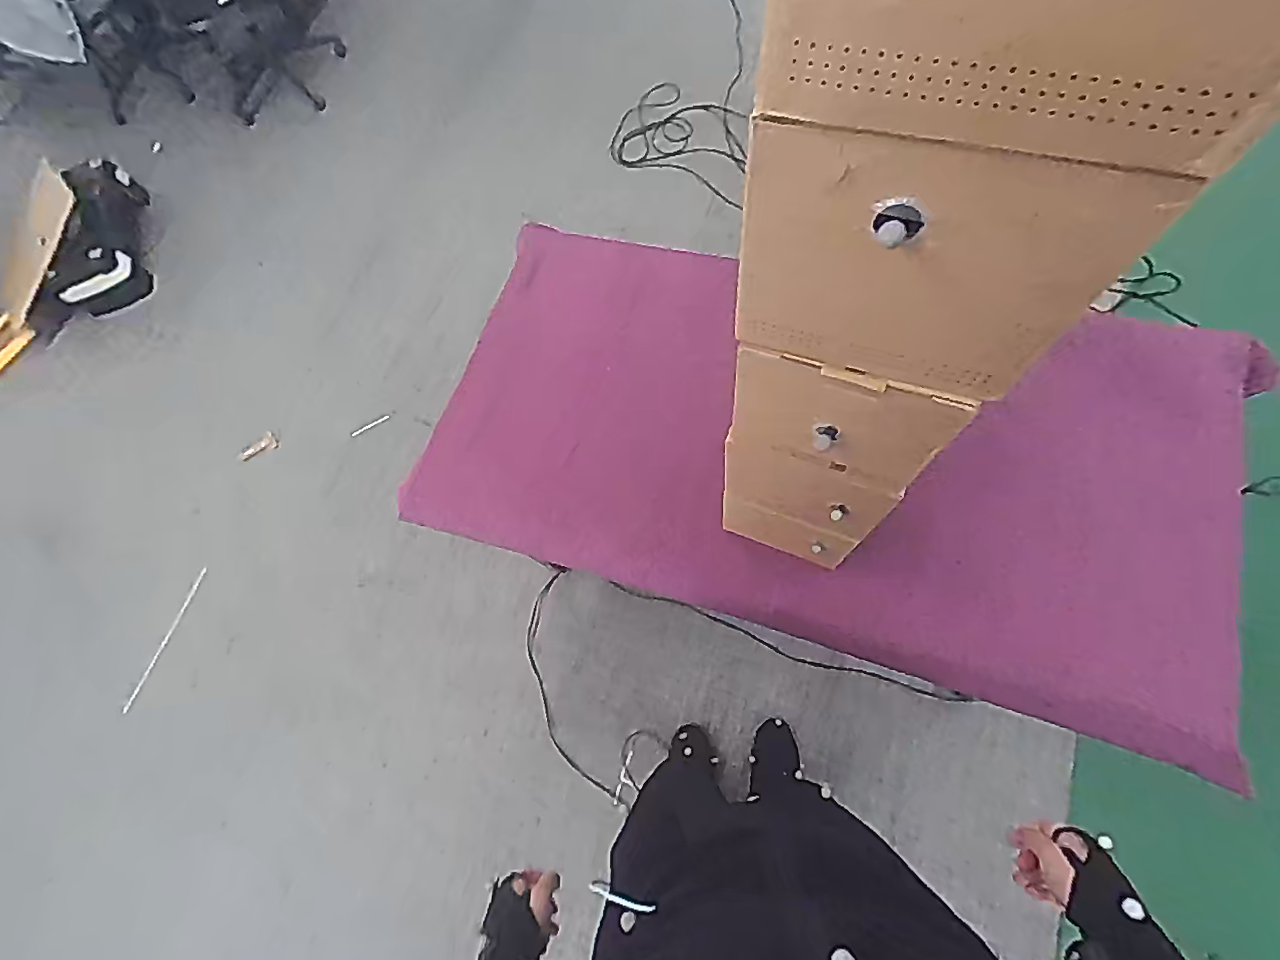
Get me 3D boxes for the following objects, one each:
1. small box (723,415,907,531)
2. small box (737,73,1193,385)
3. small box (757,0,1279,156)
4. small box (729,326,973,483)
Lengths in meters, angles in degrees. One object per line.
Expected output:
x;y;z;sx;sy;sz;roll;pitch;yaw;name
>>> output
0.205;-0.054;0.620;0.179;0.176;0.168;20;73;16;small box
0.163;-0.178;0.320;0.179;0.176;0.168;18;73;14;small box
0.147;-0.237;0.169;0.179;0.176;0.168;18;73;15;small box
0.185;-0.118;0.471;0.168;0.176;0.179;20;74;15;small box
